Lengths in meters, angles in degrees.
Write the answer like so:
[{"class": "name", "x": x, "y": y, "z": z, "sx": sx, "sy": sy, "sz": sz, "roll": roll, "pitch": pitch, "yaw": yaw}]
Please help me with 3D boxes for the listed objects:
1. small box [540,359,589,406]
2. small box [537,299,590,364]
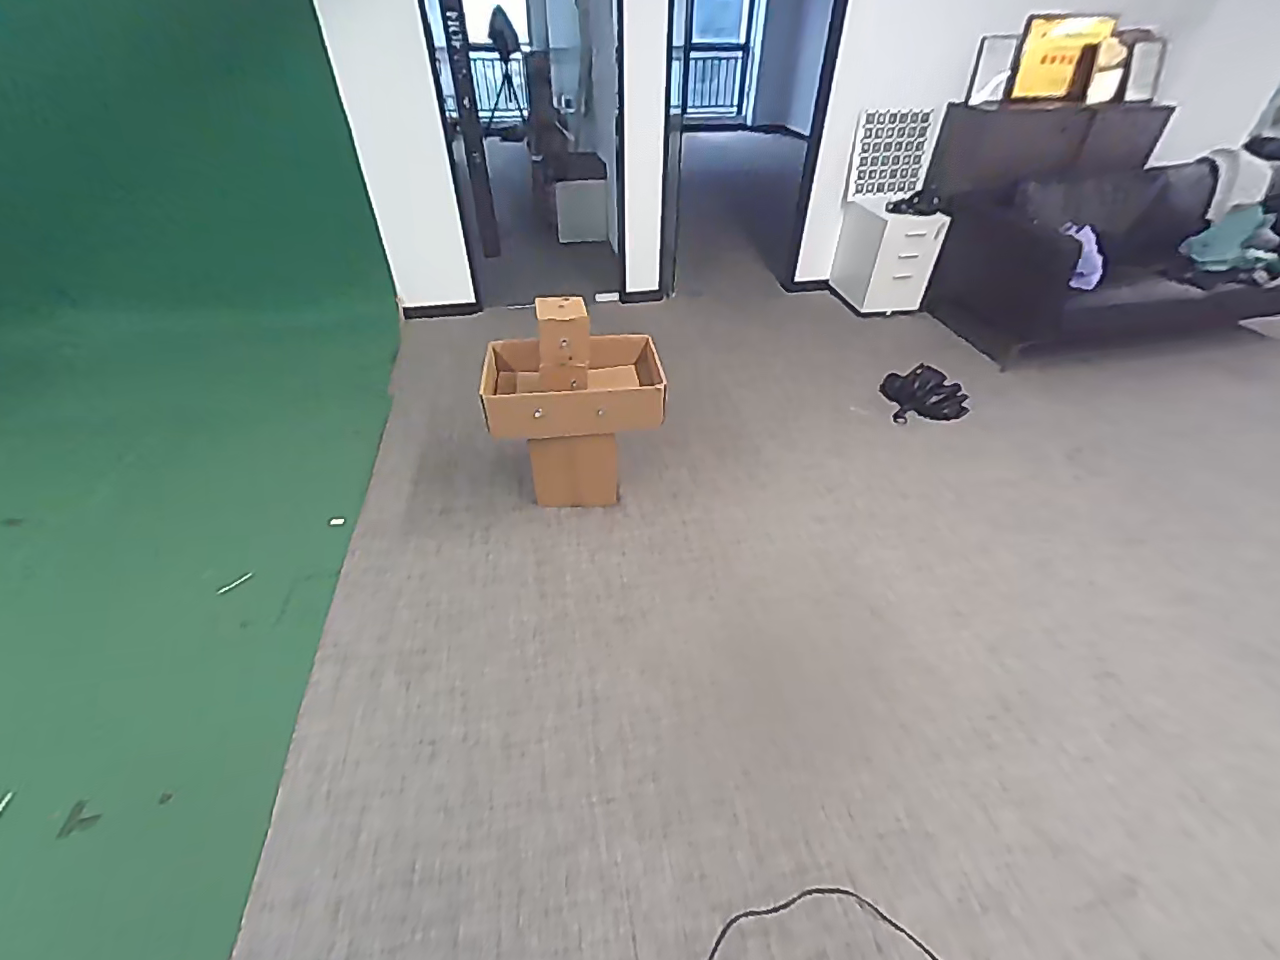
[{"class": "small box", "x": -0.273, "y": -0.379, "z": 1.968, "sx": 0.168, "sy": 0.176, "sz": 0.179, "roll": -3, "pitch": 39, "yaw": -9}, {"class": "small box", "x": -0.264, "y": -0.510, "z": 1.869, "sx": 0.168, "sy": 0.176, "sz": 0.179, "roll": -4, "pitch": 41, "yaw": -10}]
